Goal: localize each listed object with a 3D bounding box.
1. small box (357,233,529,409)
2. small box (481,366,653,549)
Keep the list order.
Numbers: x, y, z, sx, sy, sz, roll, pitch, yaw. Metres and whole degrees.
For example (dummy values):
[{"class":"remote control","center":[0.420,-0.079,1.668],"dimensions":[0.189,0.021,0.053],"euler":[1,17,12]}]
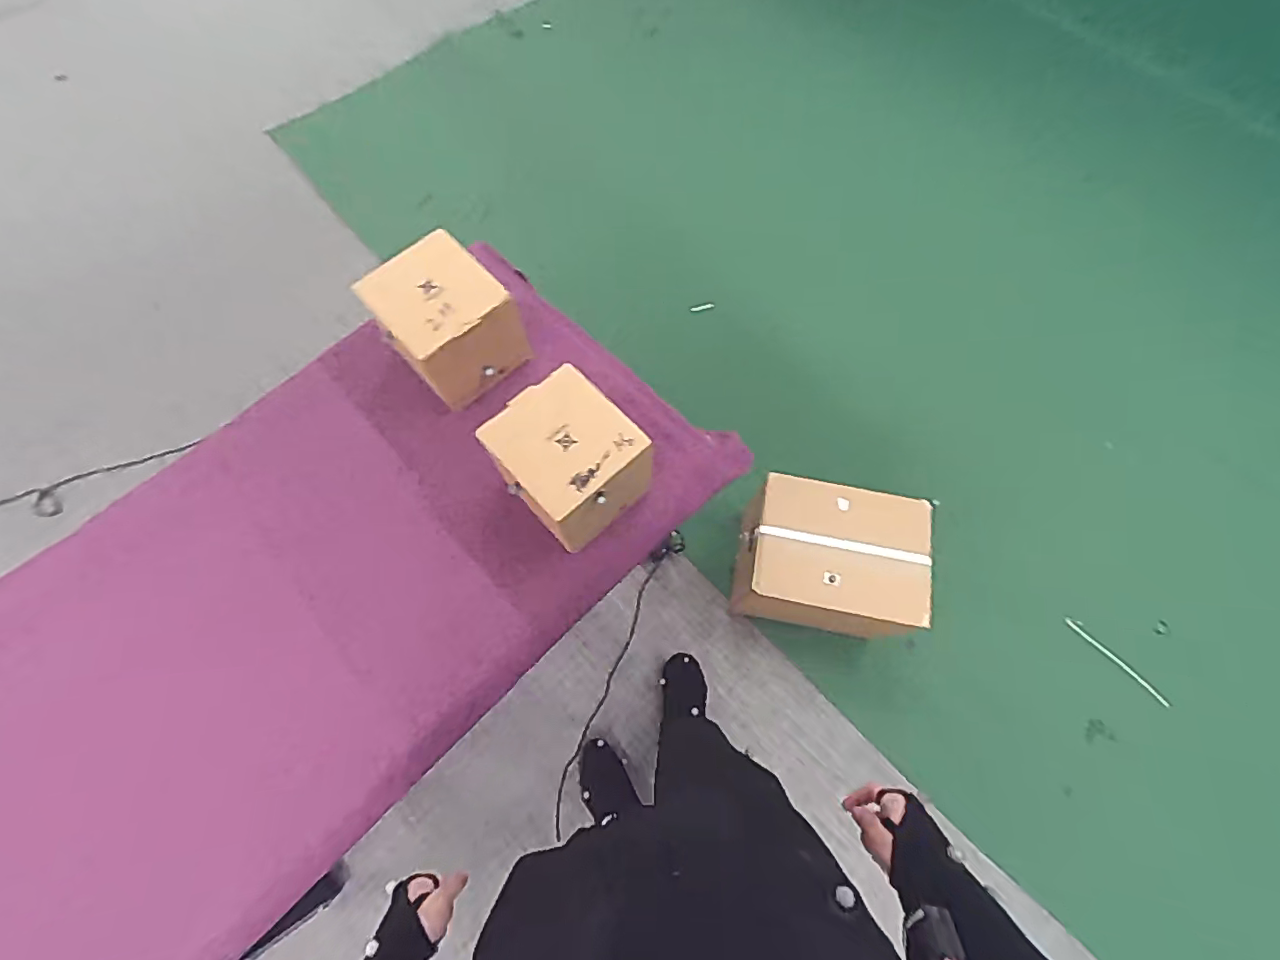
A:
[{"class":"small box","center":[-0.306,-0.247,0.874],"dimensions":[0.168,0.176,0.179],"euler":[-42,76,-13]},{"class":"small box","center":[-0.098,-0.025,0.792],"dimensions":[0.168,0.176,0.179],"euler":[-41,72,-14]}]
